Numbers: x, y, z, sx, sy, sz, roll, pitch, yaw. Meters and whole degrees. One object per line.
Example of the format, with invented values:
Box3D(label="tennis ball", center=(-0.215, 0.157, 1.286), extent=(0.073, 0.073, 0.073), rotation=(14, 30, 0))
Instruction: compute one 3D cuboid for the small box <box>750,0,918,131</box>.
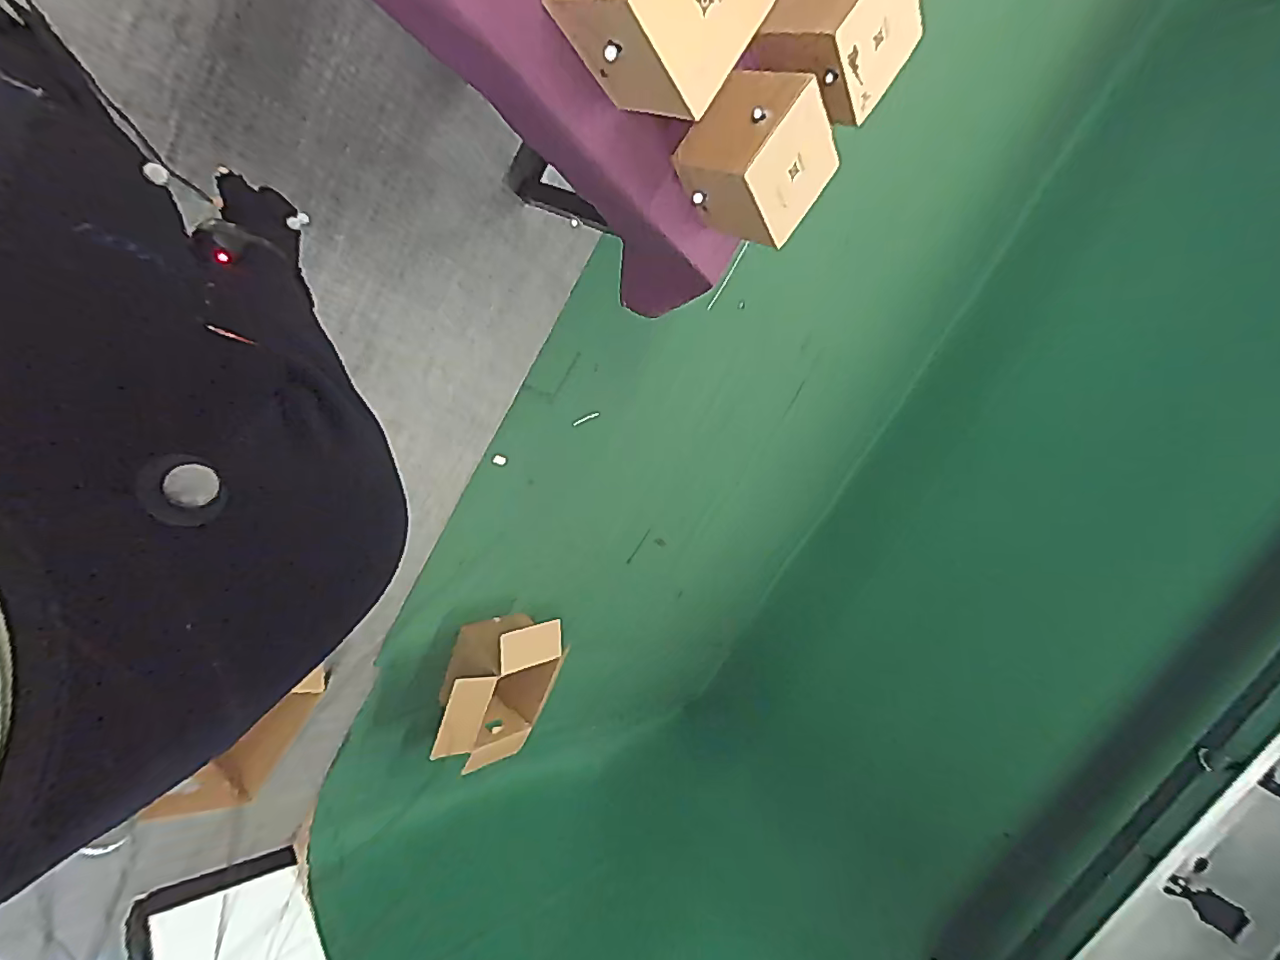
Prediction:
Box3D(label="small box", center=(0.306, -0.702, 0.857), extent=(0.179, 0.176, 0.168), rotation=(-55, 144, 4))

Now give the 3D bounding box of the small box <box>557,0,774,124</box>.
Box3D(label="small box", center=(0.023, -0.577, 0.654), extent=(0.179, 0.176, 0.168), rotation=(-56, 144, 6))
